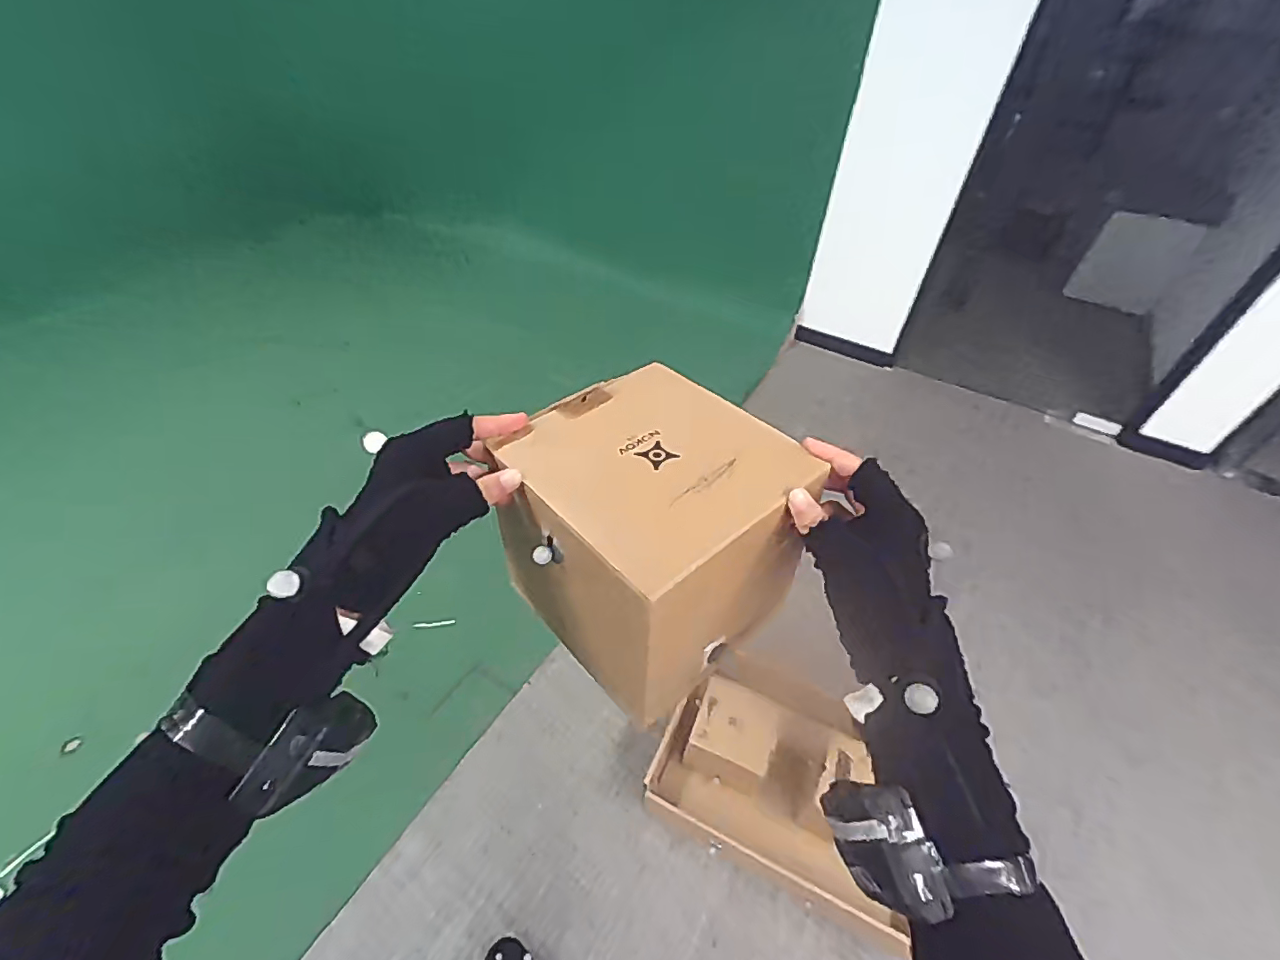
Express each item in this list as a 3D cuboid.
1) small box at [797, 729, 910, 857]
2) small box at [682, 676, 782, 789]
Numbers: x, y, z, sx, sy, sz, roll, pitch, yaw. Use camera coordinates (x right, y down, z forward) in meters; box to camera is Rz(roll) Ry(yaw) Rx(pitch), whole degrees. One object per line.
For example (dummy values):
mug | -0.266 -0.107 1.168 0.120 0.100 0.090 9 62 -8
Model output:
small box | 0.464 0.696 1.195 0.179 0.176 0.168 22 50 19
small box | 0.213 0.600 1.276 0.179 0.176 0.168 20 48 14
